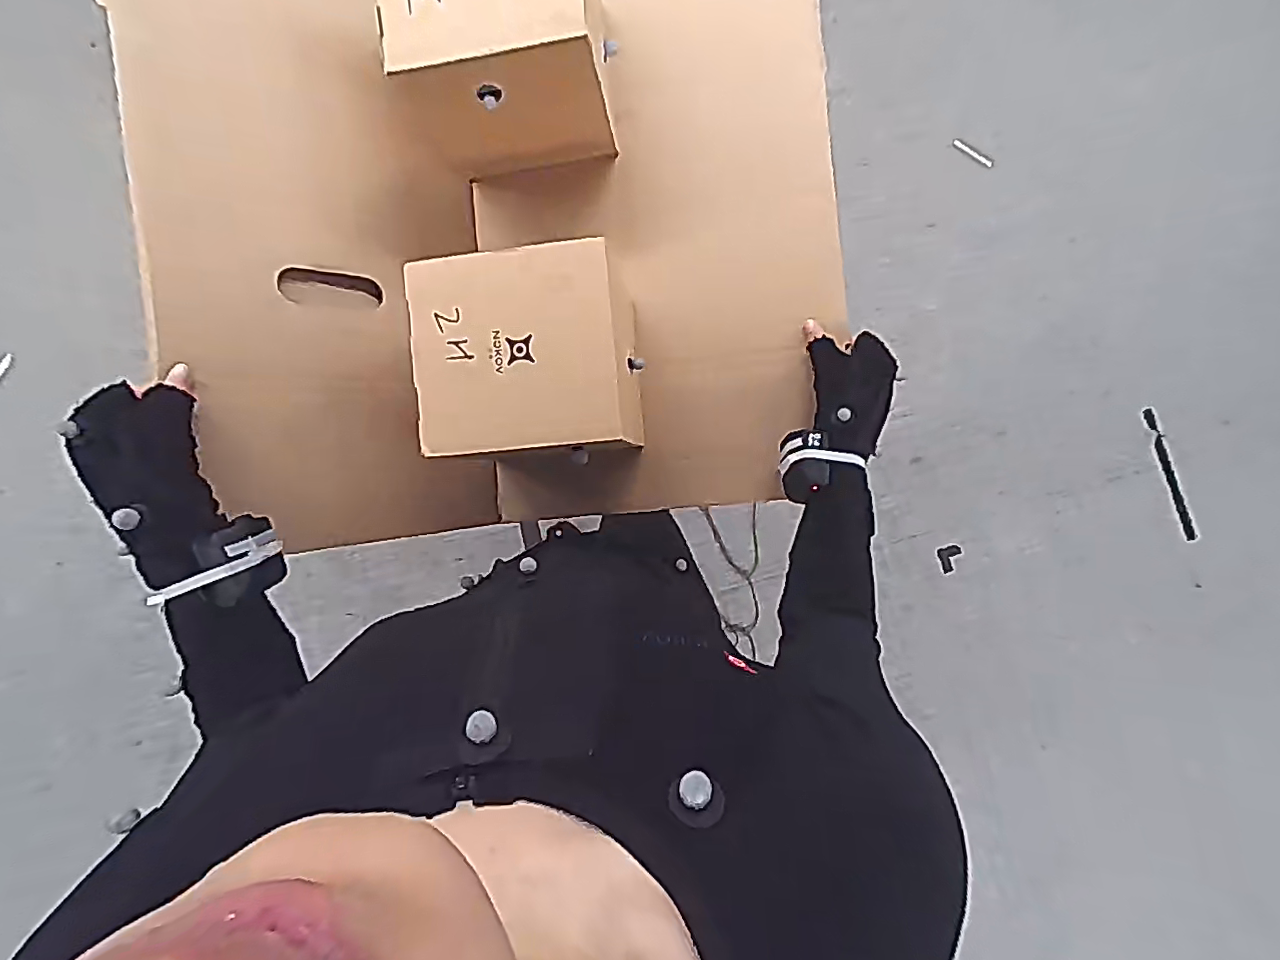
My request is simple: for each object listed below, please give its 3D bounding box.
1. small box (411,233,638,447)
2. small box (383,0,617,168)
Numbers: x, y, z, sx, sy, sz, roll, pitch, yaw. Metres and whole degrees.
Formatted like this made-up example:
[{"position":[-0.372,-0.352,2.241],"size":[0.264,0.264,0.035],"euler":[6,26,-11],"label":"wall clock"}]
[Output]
[{"position":[-0.097,-0.121,0.535],"size":[0.179,0.176,0.168],"euler":[-4,91,7],"label":"small box"},{"position":[-0.127,-0.438,0.530],"size":[0.179,0.176,0.168],"euler":[-6,91,6],"label":"small box"}]
